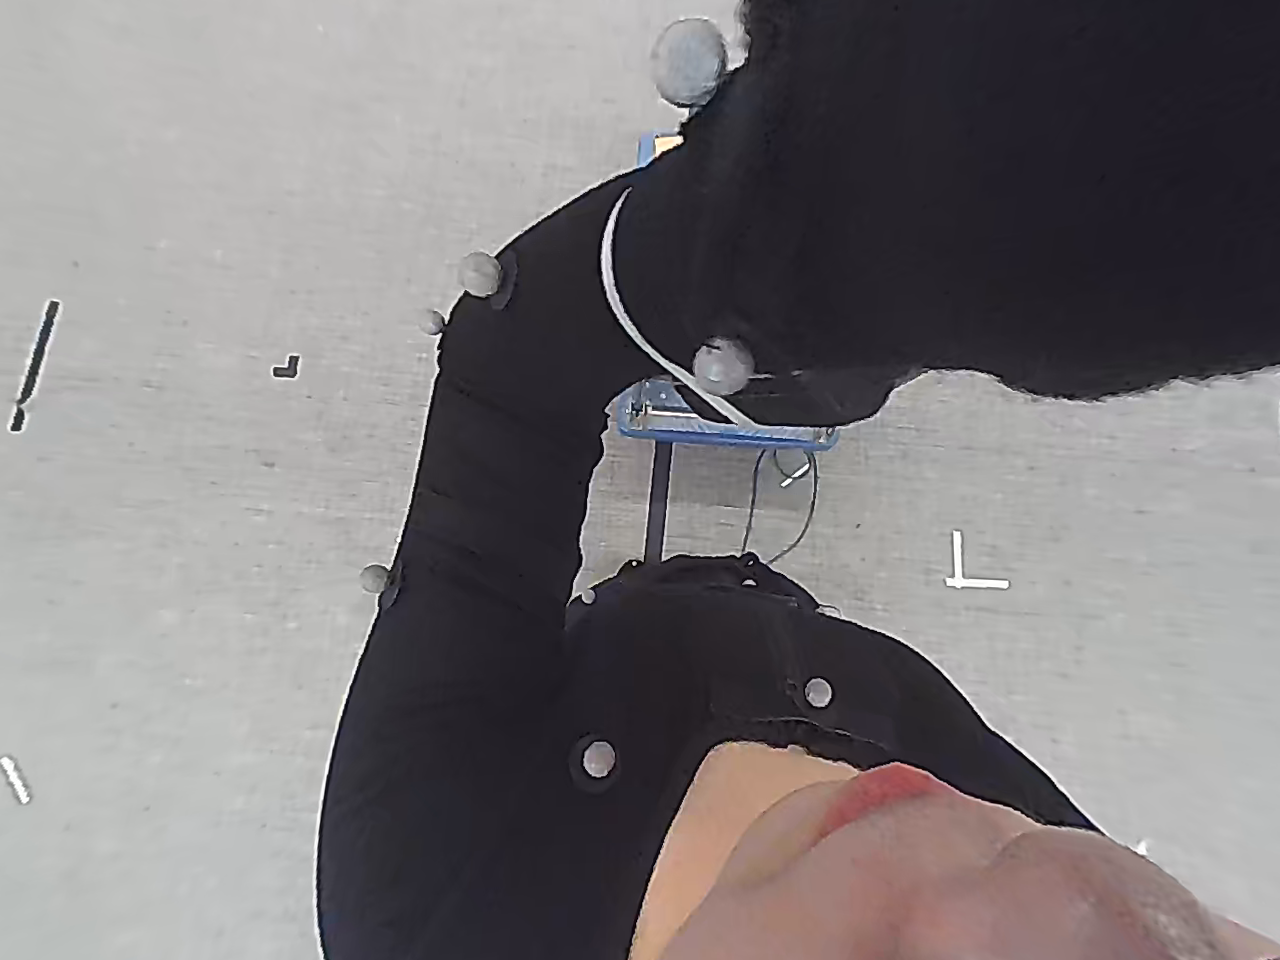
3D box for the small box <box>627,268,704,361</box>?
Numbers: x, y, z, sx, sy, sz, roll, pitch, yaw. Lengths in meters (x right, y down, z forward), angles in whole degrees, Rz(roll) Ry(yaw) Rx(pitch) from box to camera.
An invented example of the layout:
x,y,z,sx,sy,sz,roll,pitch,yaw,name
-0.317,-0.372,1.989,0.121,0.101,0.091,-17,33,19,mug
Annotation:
x,y,z,sx,sy,sz,roll,pitch,yaw,name
0.059,-0.405,1.347,0.179,0.176,0.168,3,82,-2,small box
